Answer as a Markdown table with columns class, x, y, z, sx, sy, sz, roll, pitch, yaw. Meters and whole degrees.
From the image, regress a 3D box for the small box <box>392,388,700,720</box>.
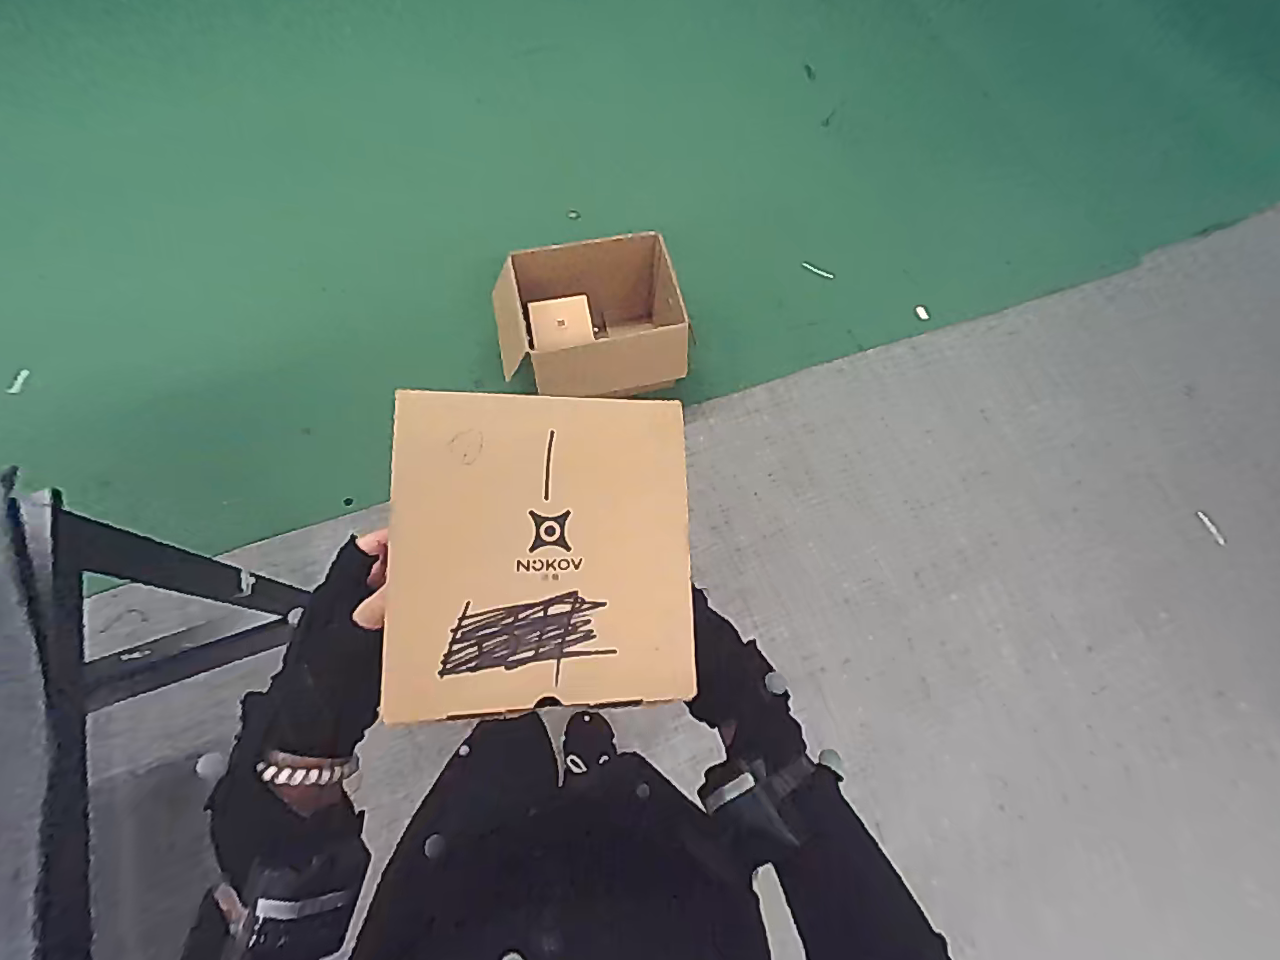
| class | x | y | z | sx | sy | sz | roll | pitch | yaw |
| --- | --- | --- | --- | --- | --- | --- | --- | --- | --- |
| small box | -0.063 | 0.050 | 0.377 | 0.168 | 0.176 | 0.179 | 1 | 80 | -13 |
